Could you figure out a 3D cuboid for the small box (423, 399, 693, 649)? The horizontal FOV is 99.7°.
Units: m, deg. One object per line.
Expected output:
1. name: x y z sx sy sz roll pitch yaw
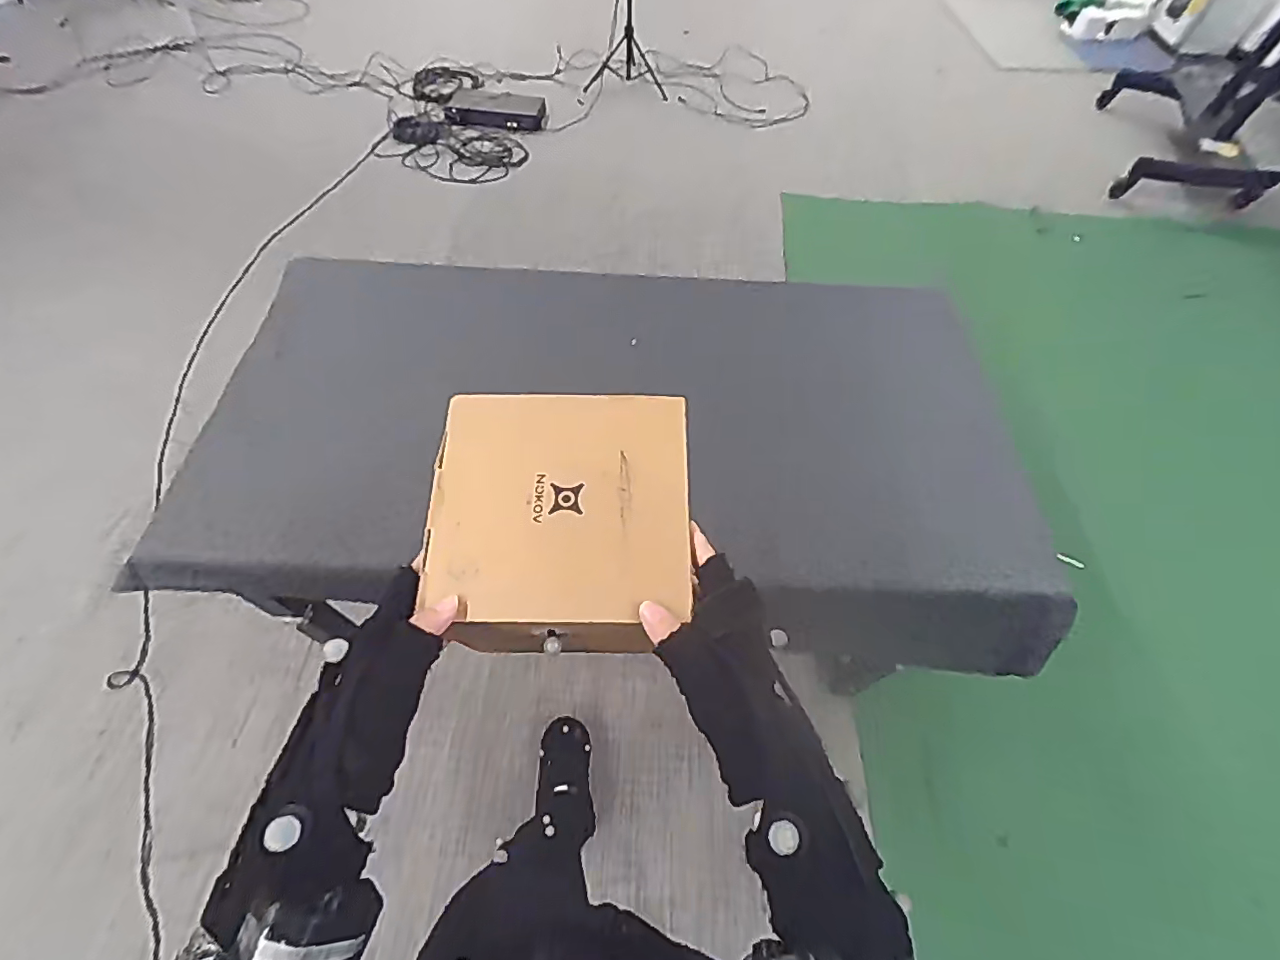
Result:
1. small box: -0.054 0.047 0.448 0.179 0.176 0.168 0 67 -2
